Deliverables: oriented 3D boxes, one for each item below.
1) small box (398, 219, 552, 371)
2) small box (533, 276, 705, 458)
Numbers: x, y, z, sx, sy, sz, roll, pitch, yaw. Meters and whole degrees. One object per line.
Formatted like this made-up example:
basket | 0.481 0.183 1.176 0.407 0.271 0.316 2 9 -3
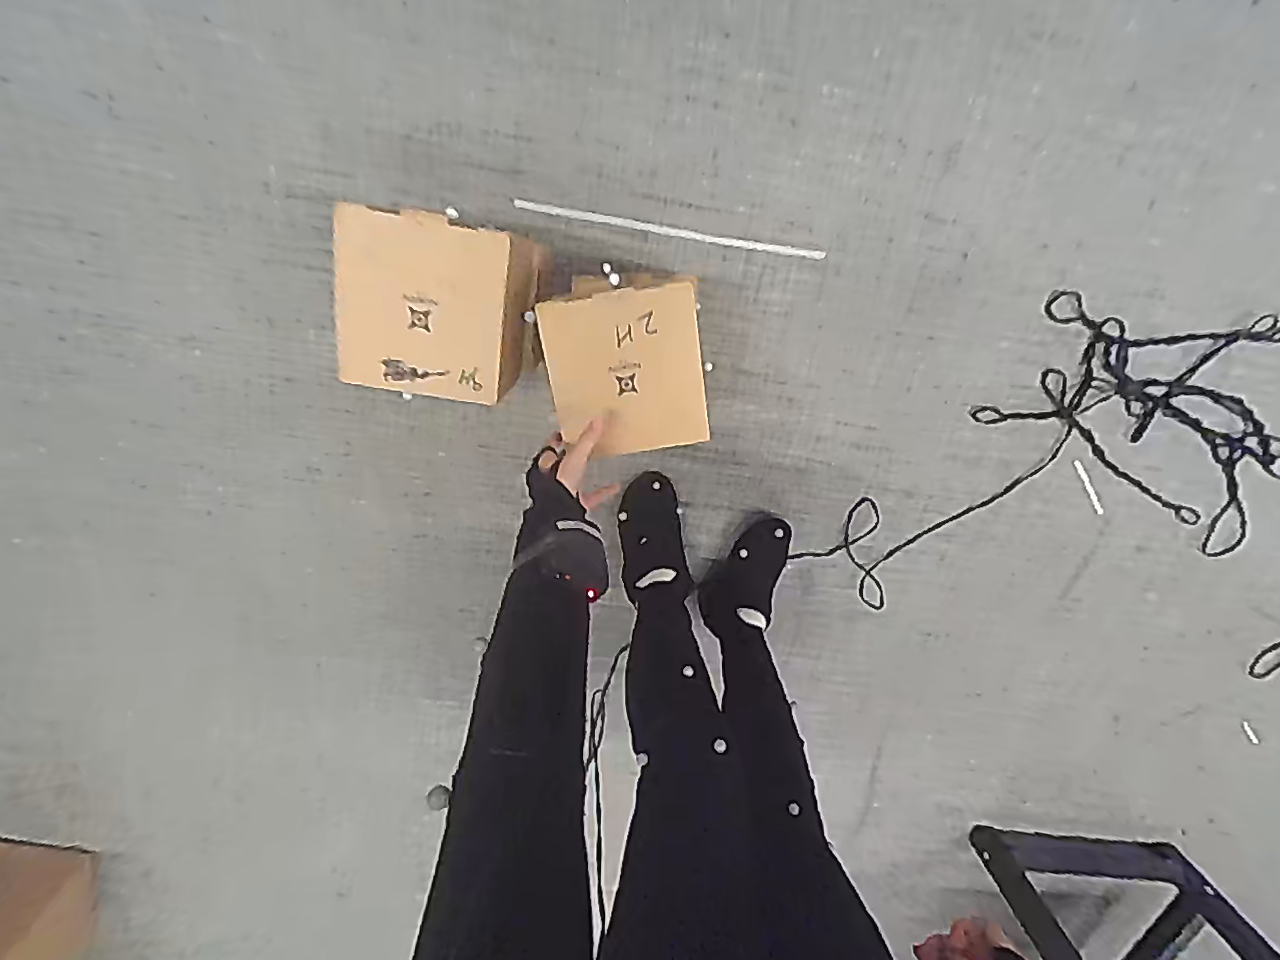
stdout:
small box | -0.225 -0.262 0.768 0.179 0.176 0.168 8 110 -5
small box | -0.019 -0.143 0.649 0.168 0.176 0.179 -8 111 1
